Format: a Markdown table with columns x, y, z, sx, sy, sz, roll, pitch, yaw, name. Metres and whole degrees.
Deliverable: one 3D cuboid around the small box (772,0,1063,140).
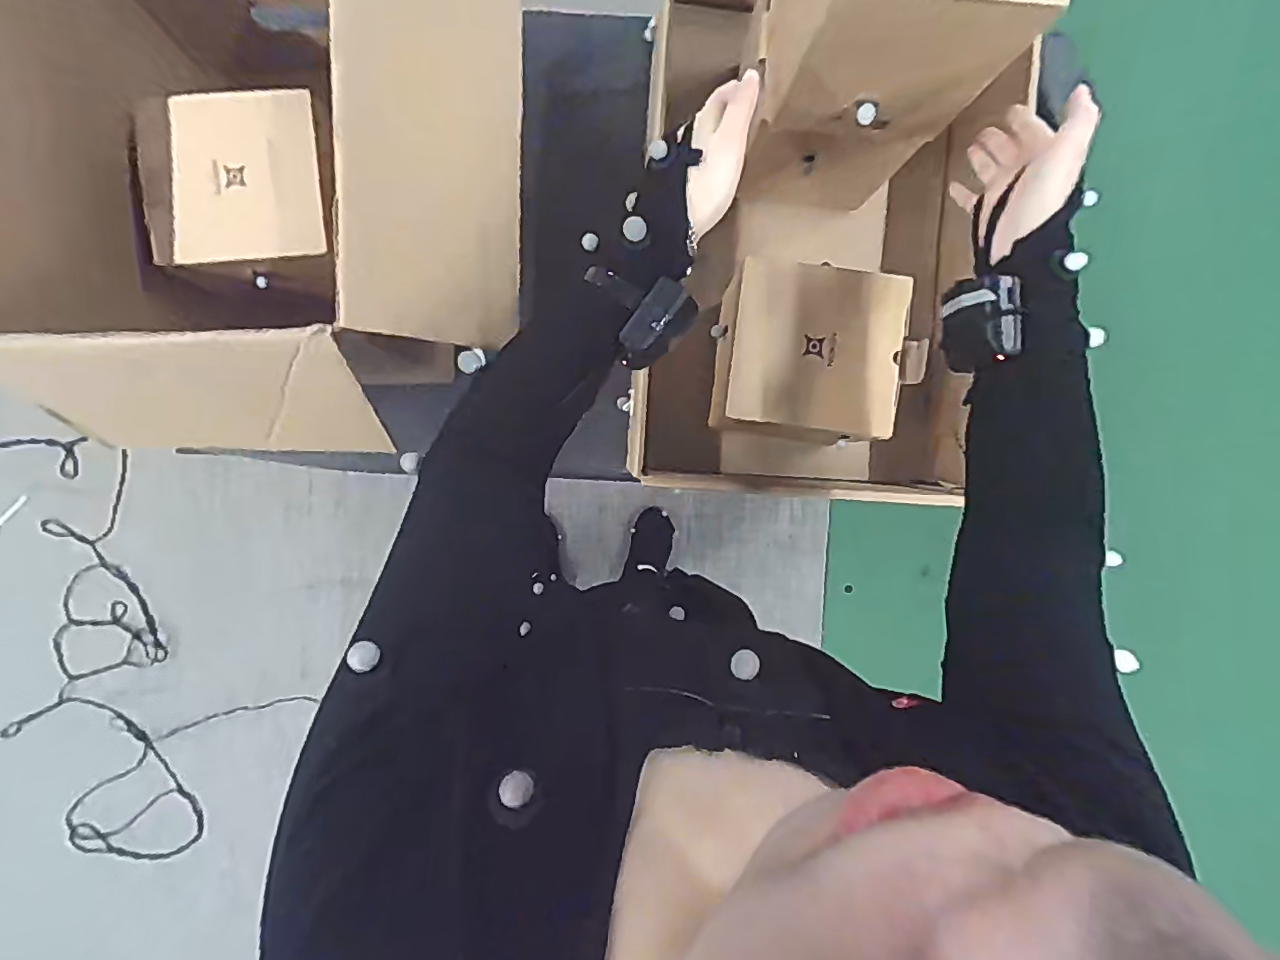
| x | y | z | sx | sy | sz | roll | pitch | yaw | name |
| --- | --- | --- | --- | --- | --- | --- | --- | --- | --- |
| 0.214 | -0.422 | 0.447 | 0.168 | 0.176 | 0.179 | 3 | 95 | -2 | small box |
